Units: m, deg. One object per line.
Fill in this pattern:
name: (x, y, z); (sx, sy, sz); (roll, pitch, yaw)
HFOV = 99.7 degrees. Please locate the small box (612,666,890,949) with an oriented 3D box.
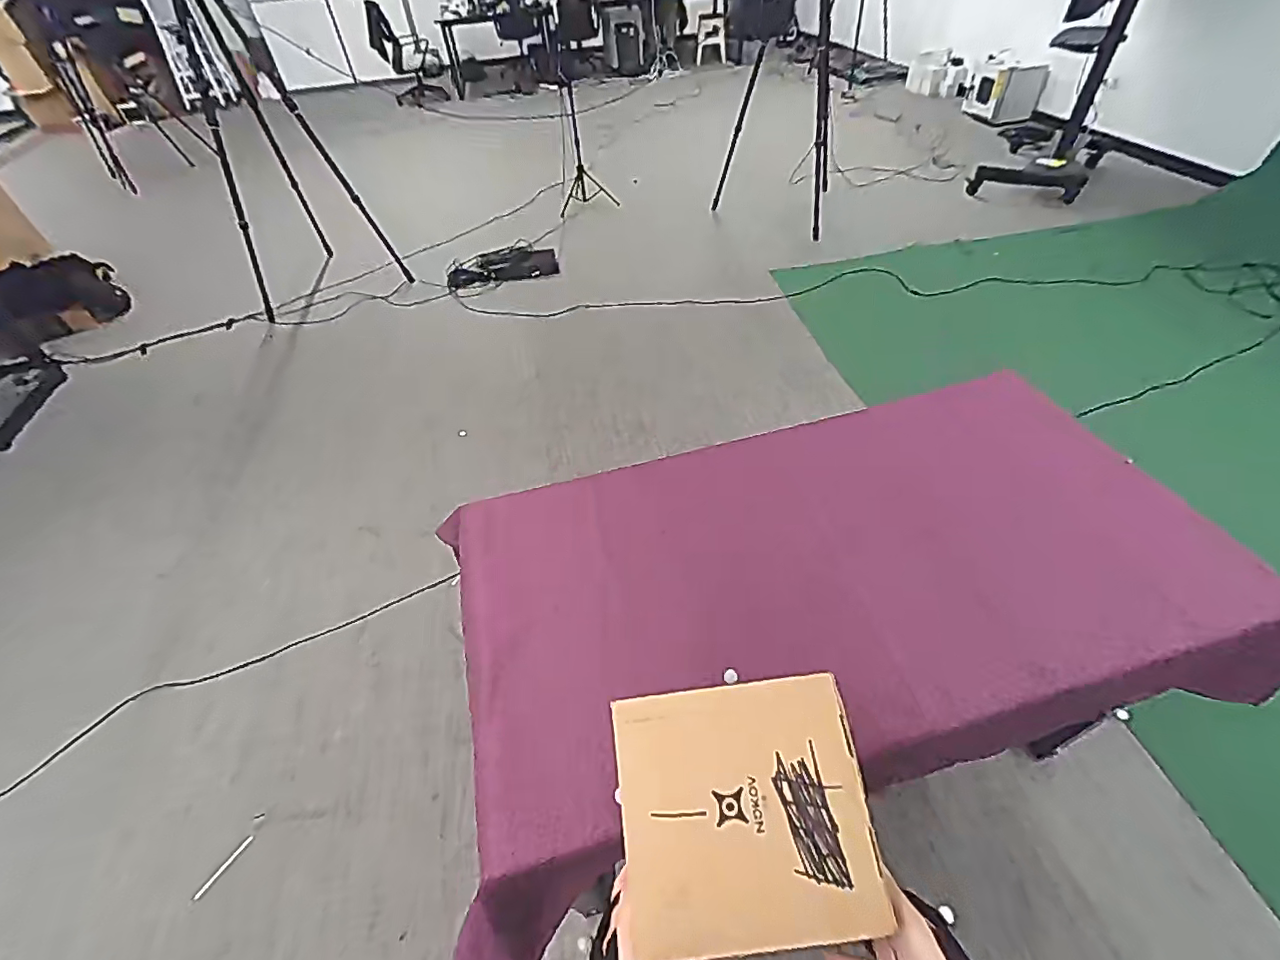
small box: (0.078, 0.259, 0.463); (0.179, 0.176, 0.168); (-9, 65, 2)
